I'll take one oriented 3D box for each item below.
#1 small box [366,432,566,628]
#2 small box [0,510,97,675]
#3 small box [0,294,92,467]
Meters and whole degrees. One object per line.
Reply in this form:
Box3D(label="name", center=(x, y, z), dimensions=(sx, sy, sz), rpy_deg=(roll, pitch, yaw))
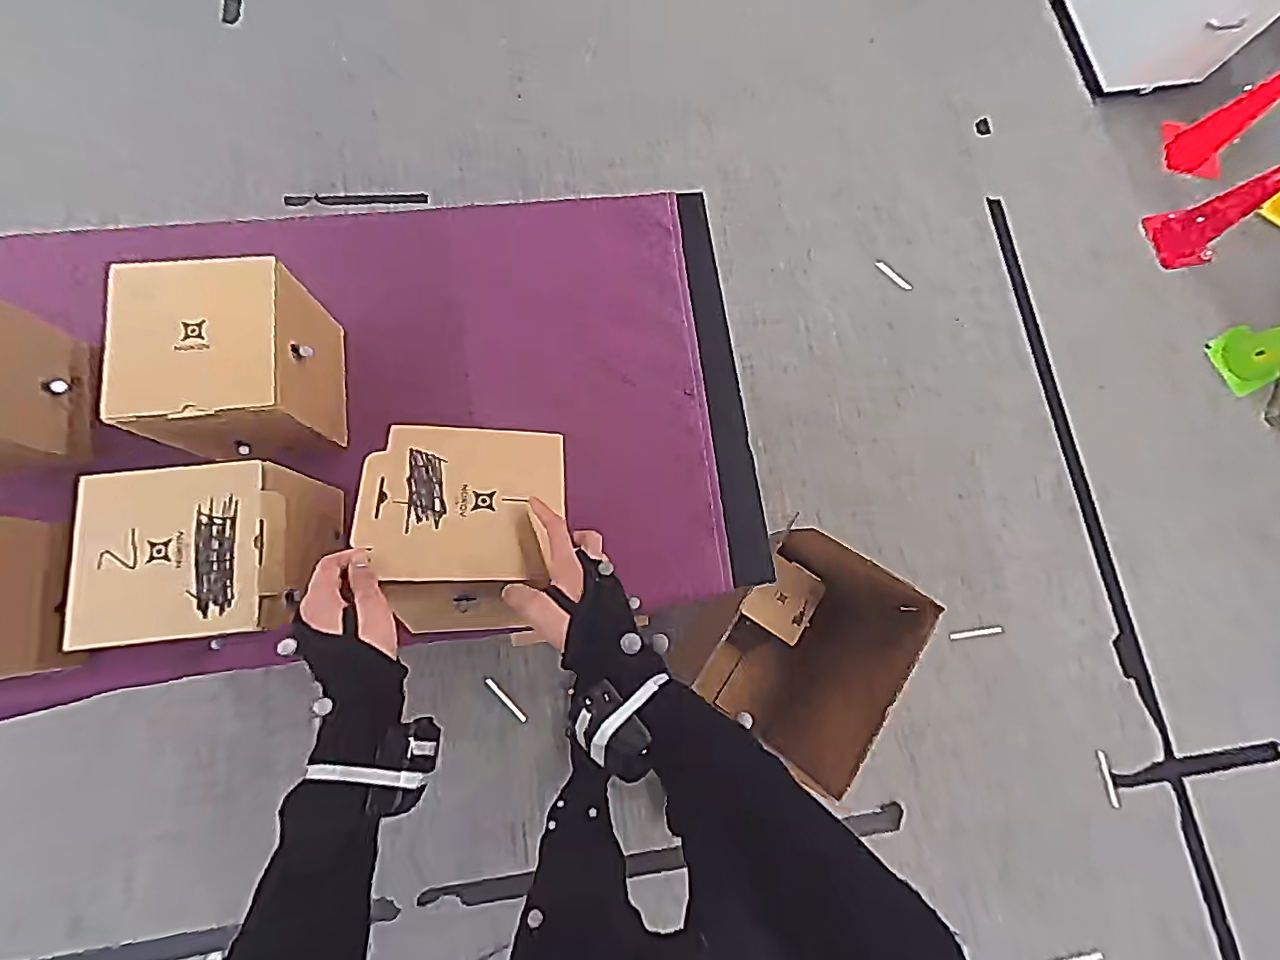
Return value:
Box3D(label="small box", center=(-0.173, 0.061, 0.600), dimensions=(0.179, 0.176, 0.168), rpy_deg=(-1, 61, -8))
Box3D(label="small box", center=(-0.730, 0.125, 0.555), dimensions=(0.179, 0.176, 0.168), rpy_deg=(-7, 80, -7))
Box3D(label="small box", center=(-0.777, -0.108, 0.597), dimensions=(0.179, 0.176, 0.168), rpy_deg=(-9, 80, -8))
